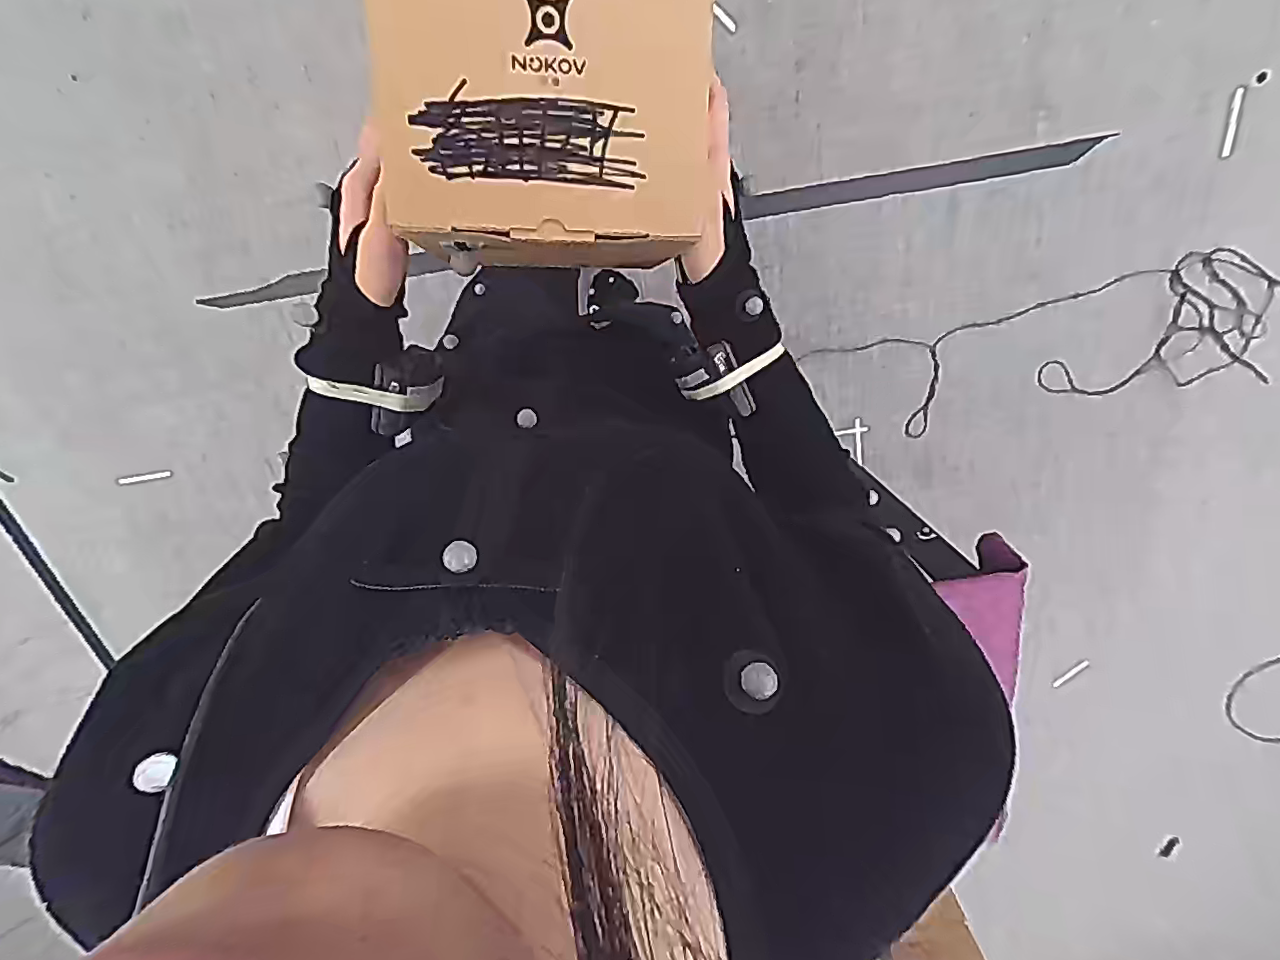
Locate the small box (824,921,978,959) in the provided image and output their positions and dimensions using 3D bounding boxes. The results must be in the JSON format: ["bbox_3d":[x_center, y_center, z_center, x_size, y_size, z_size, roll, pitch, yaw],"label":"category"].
[{"bbox_3d":[0.306,0.623,0.582,0.168,0.176,0.179,-8,112,2],"label":"small box"}]

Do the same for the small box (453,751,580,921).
[{"bbox_3d":[-0.194,0.589,0.905,0.168,0.176,0.179,-4,112,-1],"label":"small box"}]
